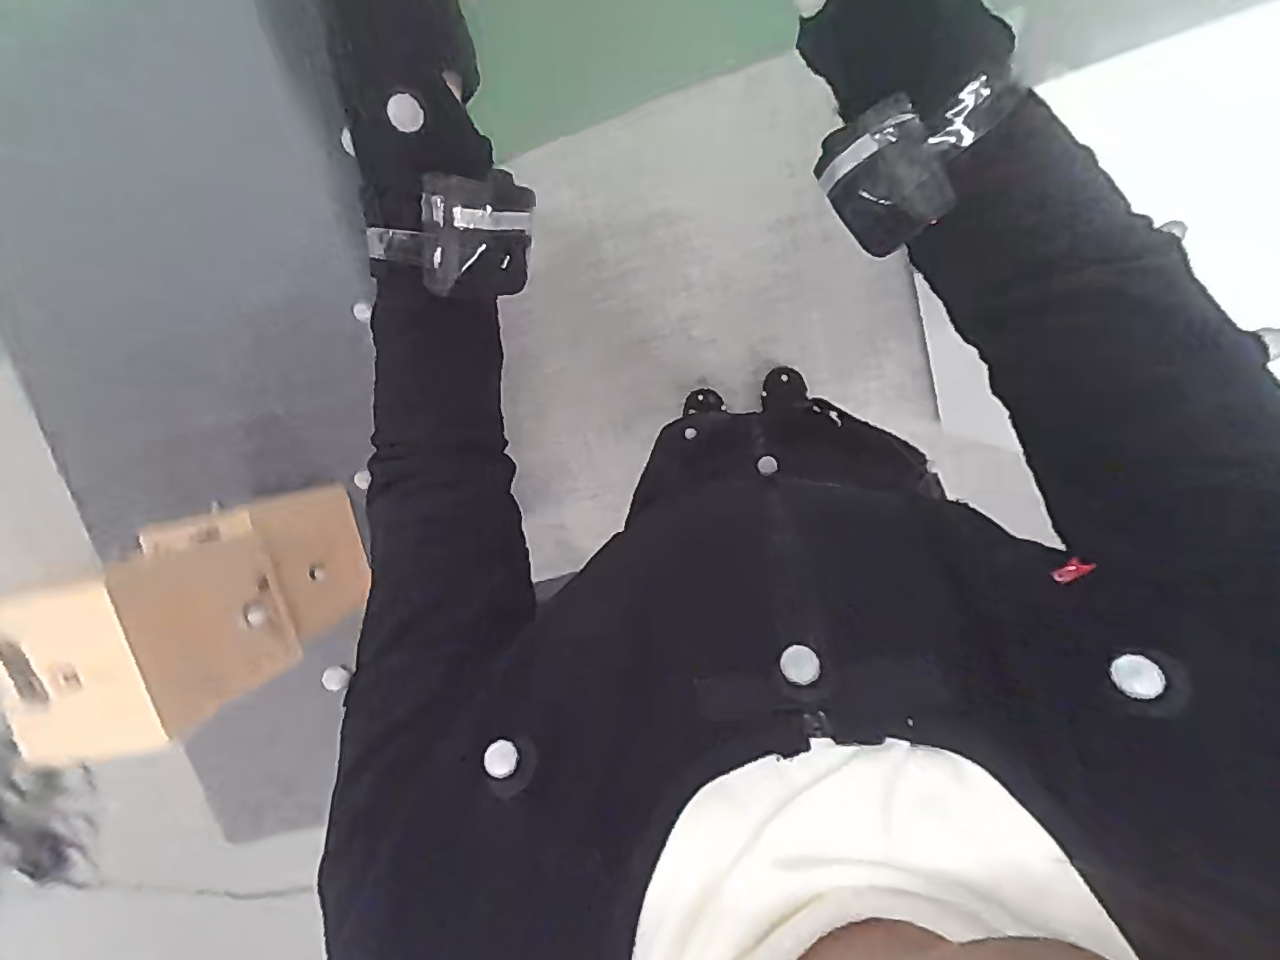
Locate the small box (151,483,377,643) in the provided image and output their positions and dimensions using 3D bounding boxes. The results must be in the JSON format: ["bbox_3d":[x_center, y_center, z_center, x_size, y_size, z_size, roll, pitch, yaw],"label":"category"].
[{"bbox_3d":[-0.499,0.116,0.746,0.168,0.176,0.179,-11,100,12],"label":"small box"}]

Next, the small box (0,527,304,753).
[{"bbox_3d":[-0.521,0.164,0.590,0.179,0.176,0.168,-15,98,14],"label":"small box"}]
